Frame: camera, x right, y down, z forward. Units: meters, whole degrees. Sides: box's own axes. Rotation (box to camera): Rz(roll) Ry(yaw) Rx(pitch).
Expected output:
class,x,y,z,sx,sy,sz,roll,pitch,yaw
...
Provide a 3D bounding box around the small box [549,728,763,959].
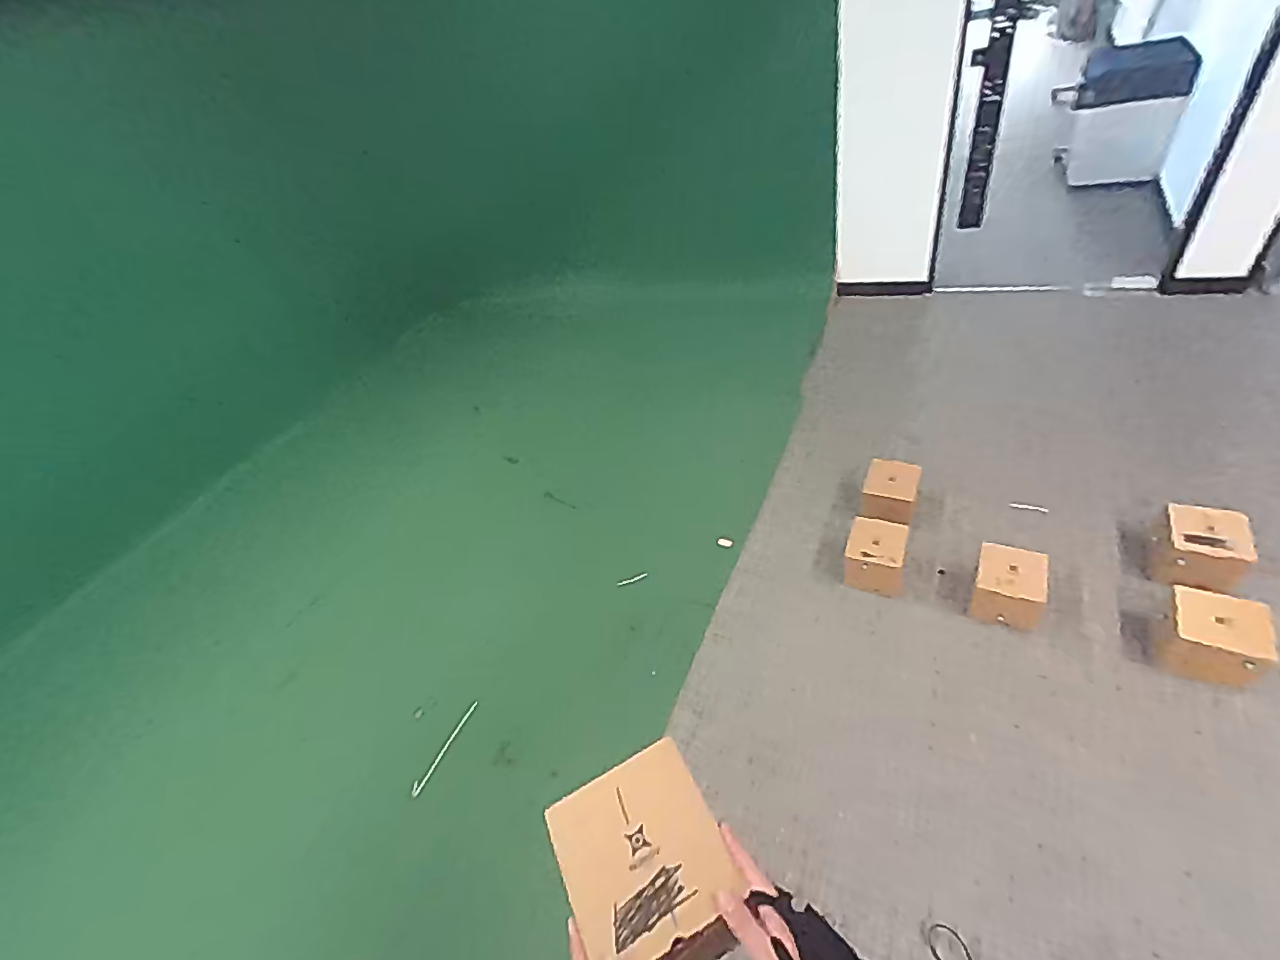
class,x,y,z,sx,sy,sz,roll,pitch,yaw
small box,0.022,0.424,0.602,0.168,0.176,0.179,-25,41,-10

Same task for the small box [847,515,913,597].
class,x,y,z,sx,sy,sz,roll,pitch,yaw
small box,0.770,0.245,1.746,0.168,0.176,0.179,10,49,29

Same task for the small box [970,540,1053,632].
class,x,y,z,sx,sy,sz,roll,pitch,yaw
small box,1.077,0.309,1.574,0.168,0.176,0.179,12,51,29

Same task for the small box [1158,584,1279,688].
class,x,y,z,sx,sy,sz,roll,pitch,yaw
small box,1.445,0.395,1.360,0.179,0.176,0.168,13,51,29
